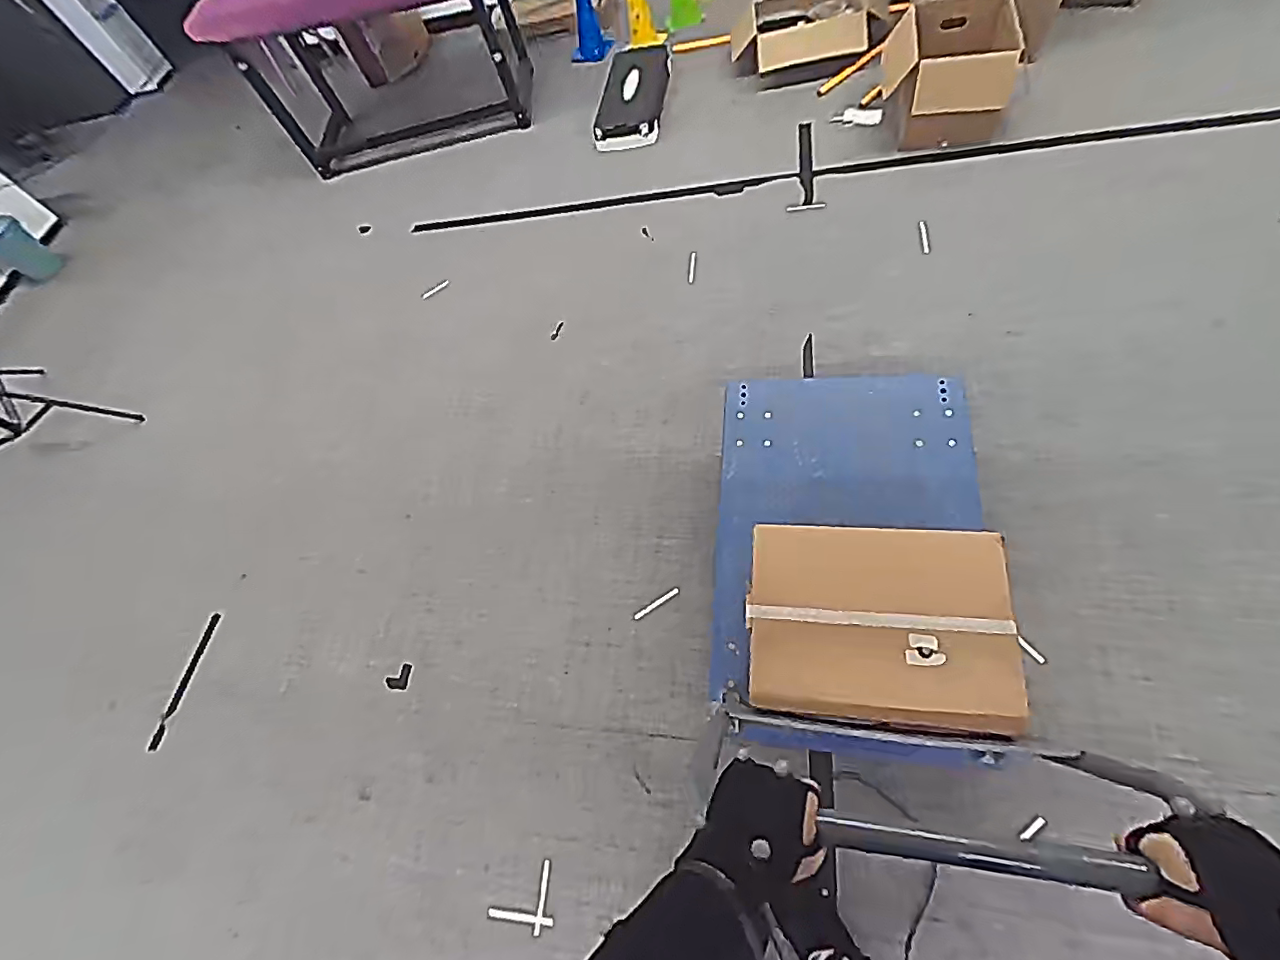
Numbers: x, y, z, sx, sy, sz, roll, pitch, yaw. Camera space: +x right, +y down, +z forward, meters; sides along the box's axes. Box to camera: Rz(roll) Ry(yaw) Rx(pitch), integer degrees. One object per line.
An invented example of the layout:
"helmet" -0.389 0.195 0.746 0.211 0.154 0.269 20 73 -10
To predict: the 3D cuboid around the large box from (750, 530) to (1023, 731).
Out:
"large box" 0.419 0.292 1.037 0.408 0.320 0.320 1 69 12
